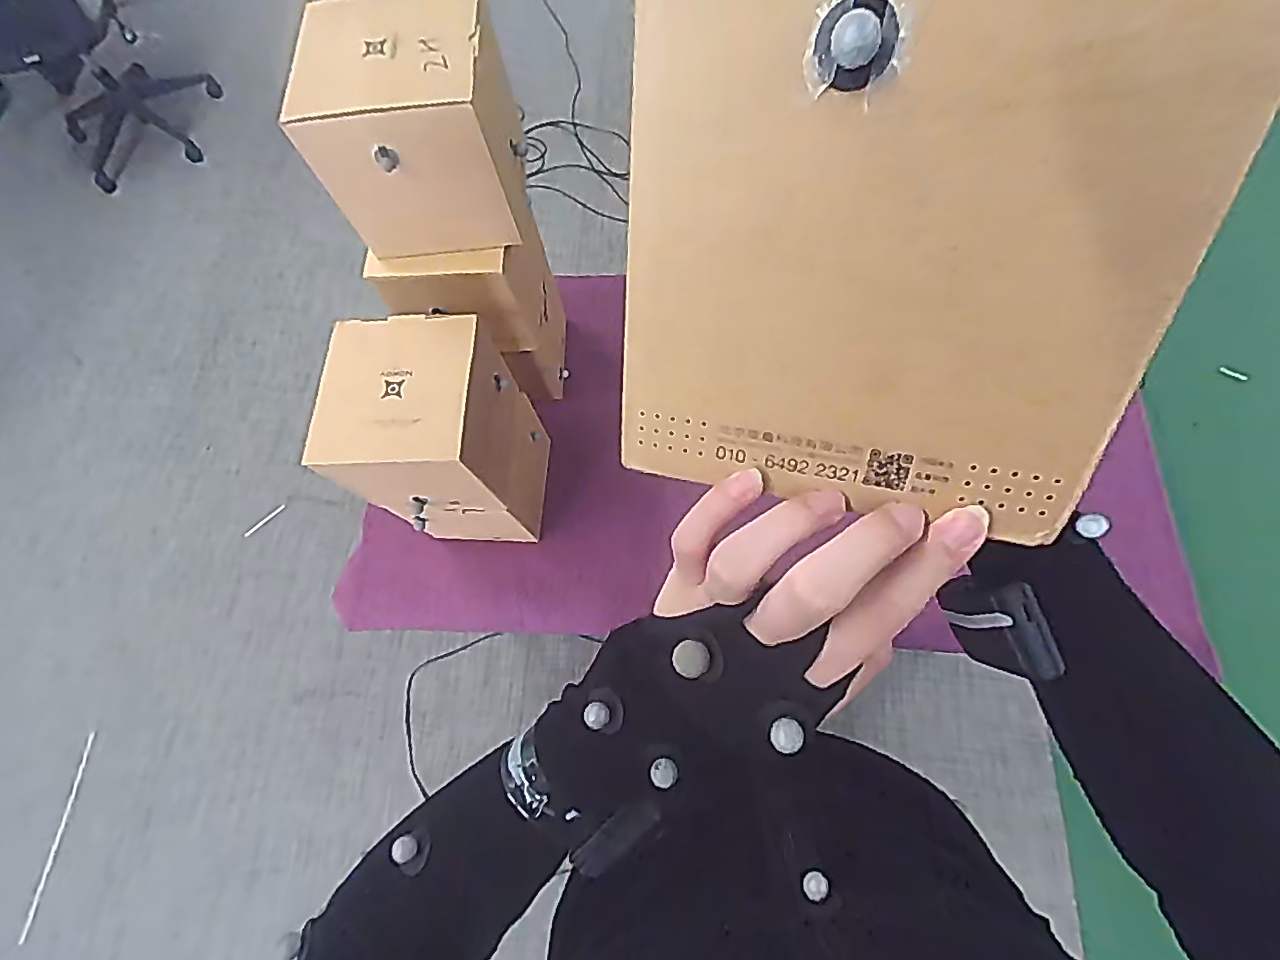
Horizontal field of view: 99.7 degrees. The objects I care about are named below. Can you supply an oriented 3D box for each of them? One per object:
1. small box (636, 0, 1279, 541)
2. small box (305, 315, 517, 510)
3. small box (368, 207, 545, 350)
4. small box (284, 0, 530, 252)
[{"bbox_3d":[0.100,-0.099,0.247,0.168,0.176,0.179,11,29,15],"label":"small box"},{"bbox_3d":[-0.252,-0.073,0.645,0.168,0.176,0.179,-1,70,4],"label":"small box"},{"bbox_3d":[-0.228,-0.287,0.720,0.168,0.176,0.179,-1,70,4],"label":"small box"},{"bbox_3d":[-0.226,-0.365,0.573,0.179,0.176,0.168,-4,71,2],"label":"small box"}]
